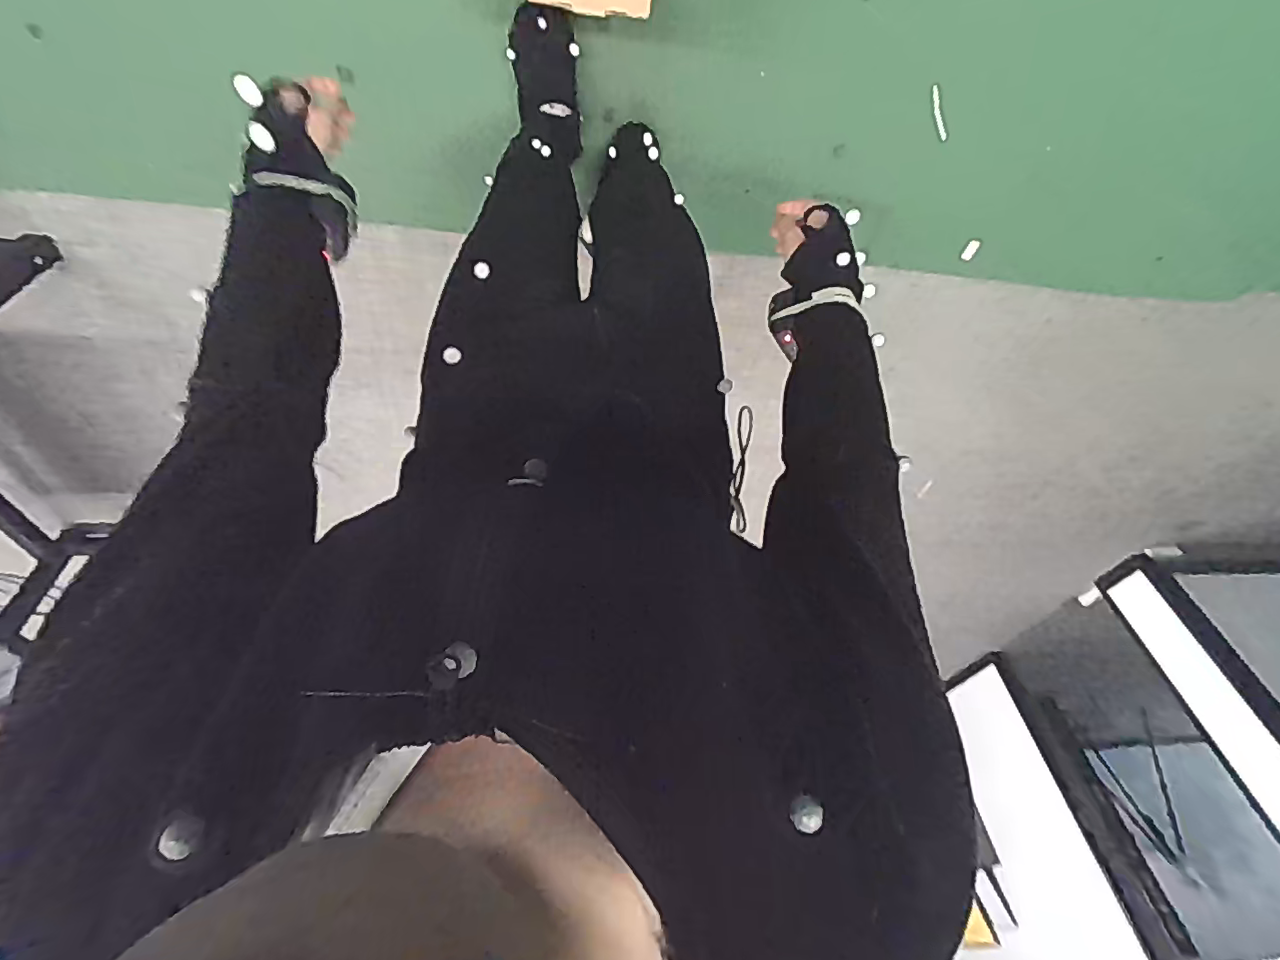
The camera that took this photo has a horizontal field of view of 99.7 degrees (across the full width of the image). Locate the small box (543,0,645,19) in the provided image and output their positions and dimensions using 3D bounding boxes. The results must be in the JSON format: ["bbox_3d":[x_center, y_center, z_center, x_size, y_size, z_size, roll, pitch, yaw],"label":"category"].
[{"bbox_3d":[-0.072,-0.740,0.702,0.168,0.176,0.179,1,139,-11],"label":"small box"}]
